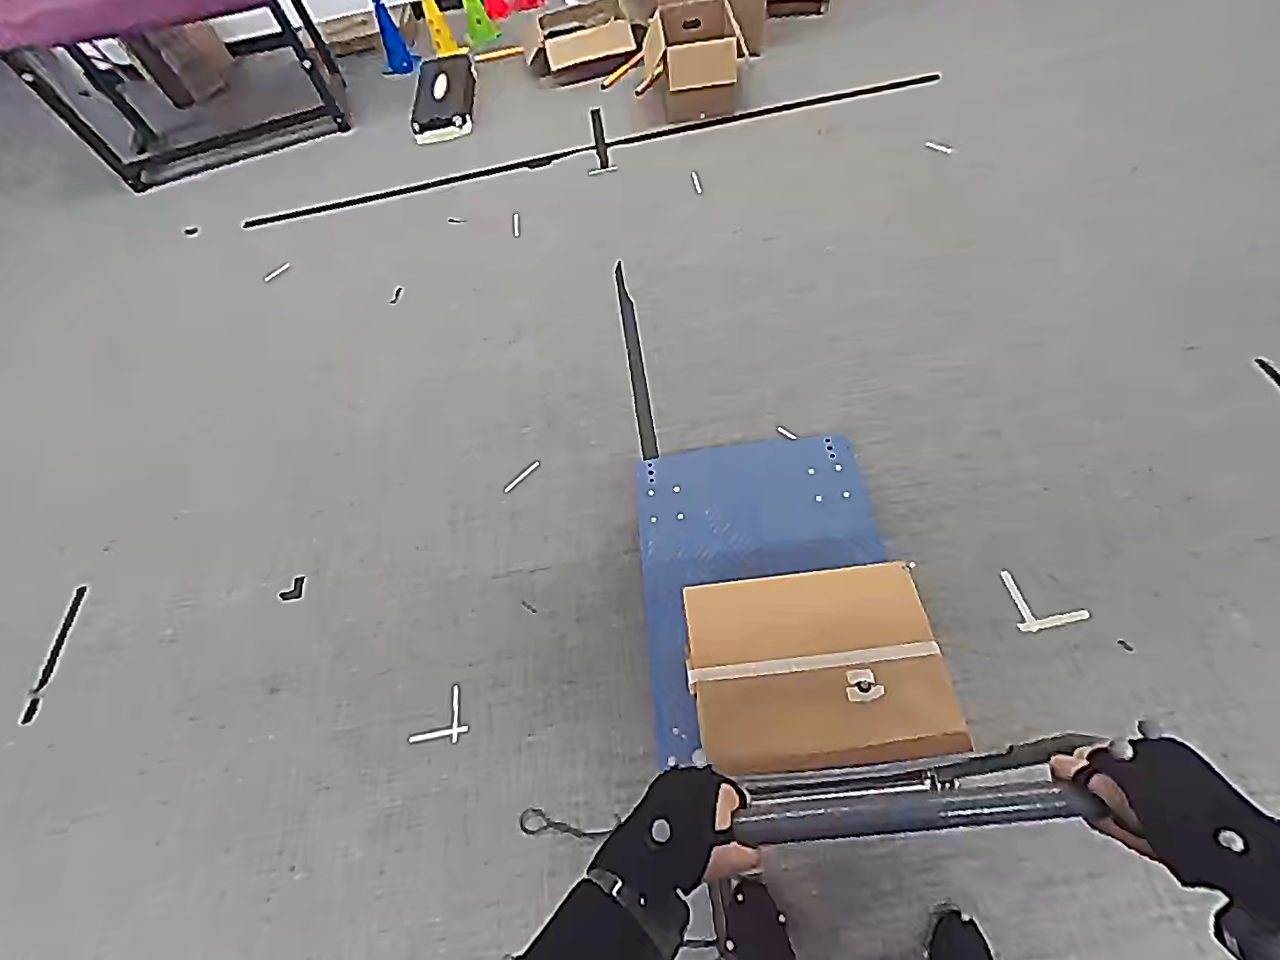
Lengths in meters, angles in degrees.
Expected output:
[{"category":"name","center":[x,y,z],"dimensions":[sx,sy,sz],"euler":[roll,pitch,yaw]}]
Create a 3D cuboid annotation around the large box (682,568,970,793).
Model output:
[{"category":"large box","center":[0.302,0.390,1.020],"dimensions":[0.408,0.320,0.320],"euler":[-7,59,3]}]
